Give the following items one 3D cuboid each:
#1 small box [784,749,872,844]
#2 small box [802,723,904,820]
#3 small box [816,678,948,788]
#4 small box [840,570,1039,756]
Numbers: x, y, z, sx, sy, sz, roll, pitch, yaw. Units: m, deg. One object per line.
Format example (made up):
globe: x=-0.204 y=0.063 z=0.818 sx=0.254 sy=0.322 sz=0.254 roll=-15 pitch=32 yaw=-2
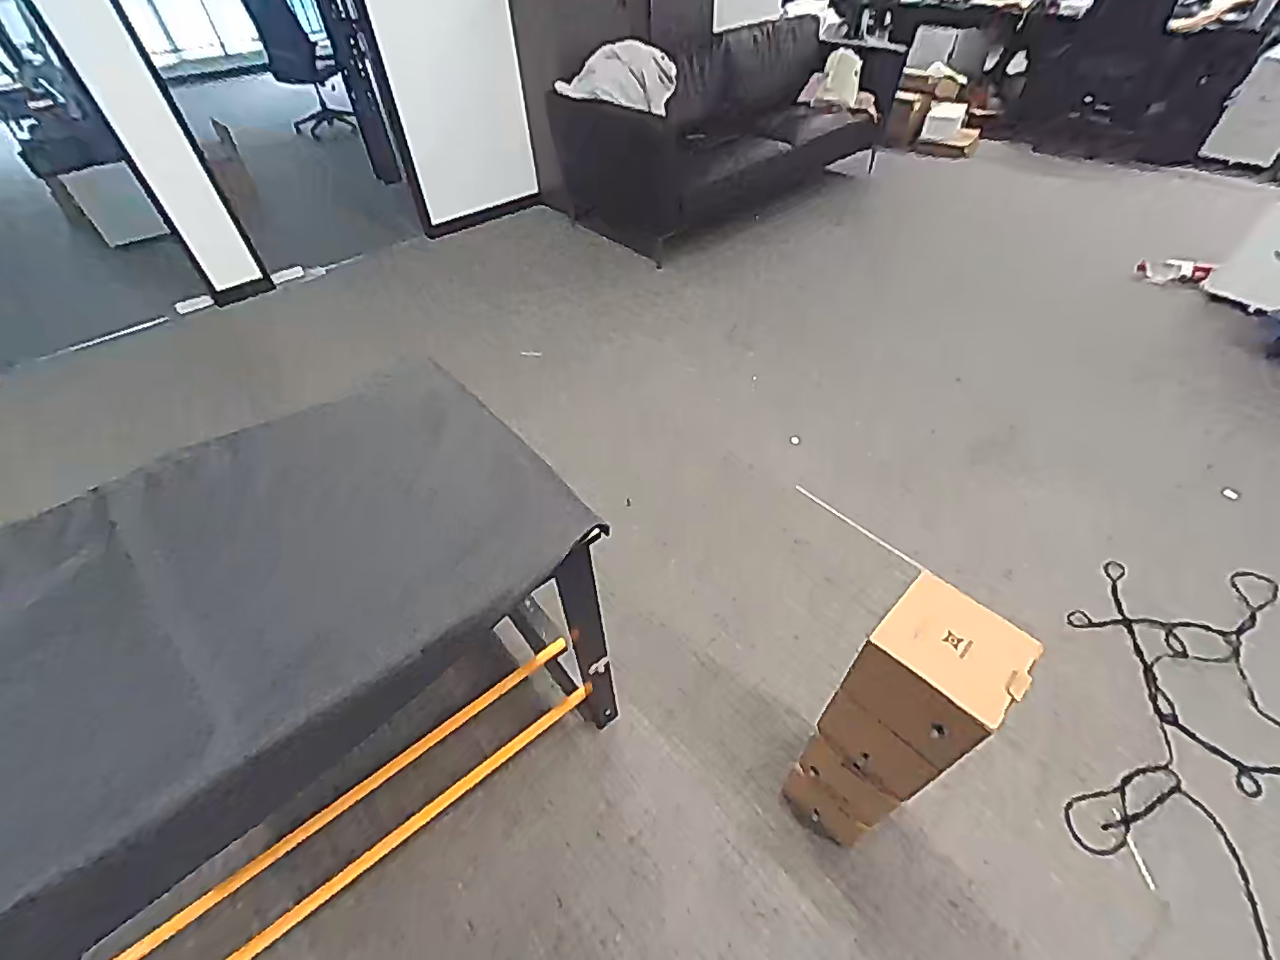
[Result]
small box: x=0.425 y=0.624 z=1.146 sx=0.168 sy=0.176 sz=0.179 roll=34 pitch=56 yaw=30
small box: x=0.430 y=0.505 z=1.033 sx=0.179 sy=0.176 sz=0.168 roll=-36 pitch=55 yaw=-29
small box: x=0.429 y=0.389 z=0.918 sx=0.168 sy=0.176 sz=0.179 roll=-36 pitch=55 yaw=-29
small box: x=0.429 y=0.275 z=0.800 sx=0.168 sy=0.176 sz=0.179 roll=-35 pitch=54 yaw=-29
